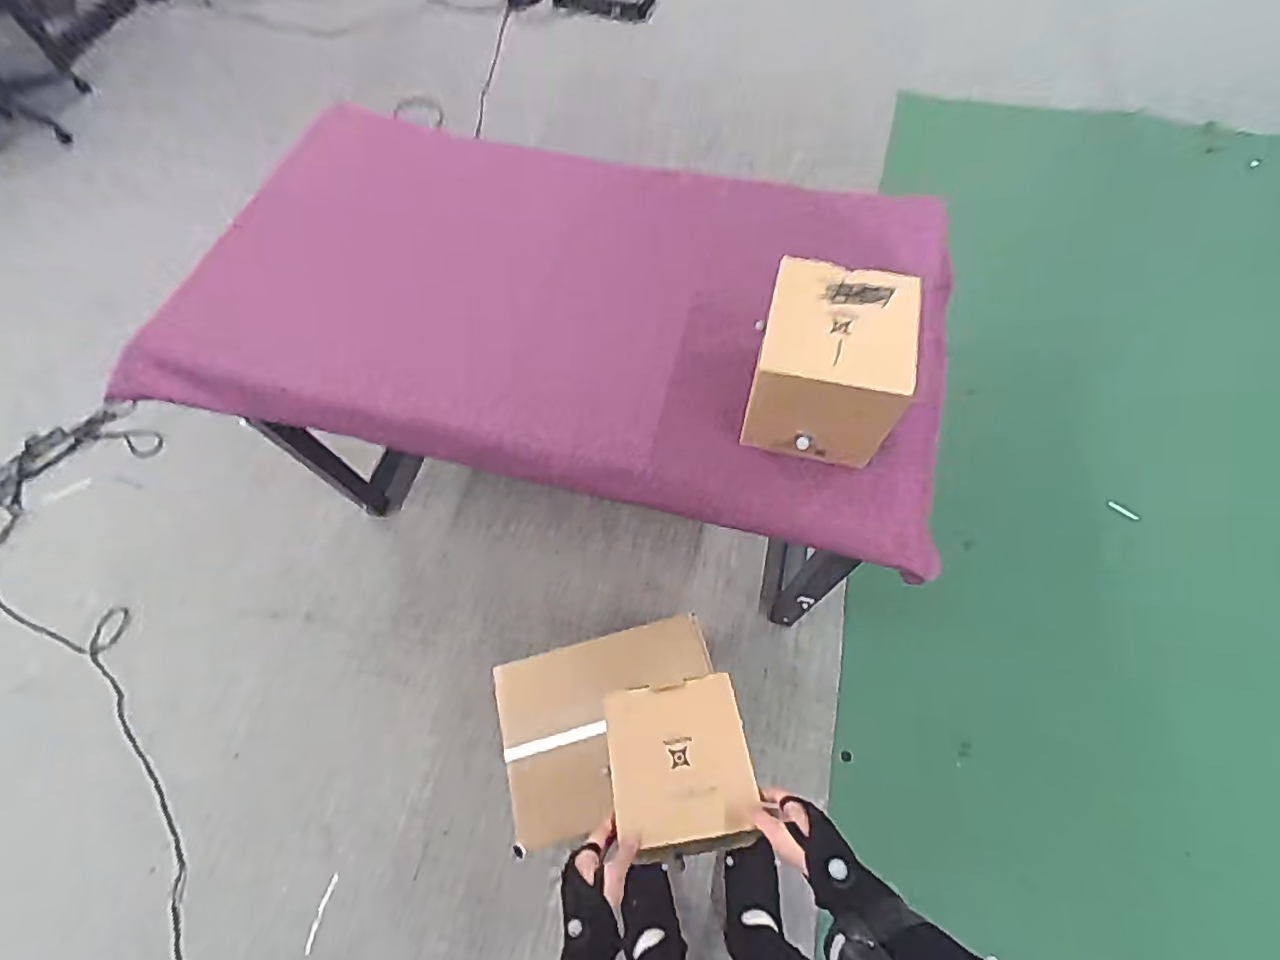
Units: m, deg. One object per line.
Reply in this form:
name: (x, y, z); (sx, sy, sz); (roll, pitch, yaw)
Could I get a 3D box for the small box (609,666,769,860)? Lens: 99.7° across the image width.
small box: (0.053, 0.365, 0.696); (0.168, 0.176, 0.179); (-8, 50, -2)

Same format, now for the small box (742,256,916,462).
small box: (0.232, -0.149, 0.691); (0.168, 0.176, 0.179); (12, 65, 9)
